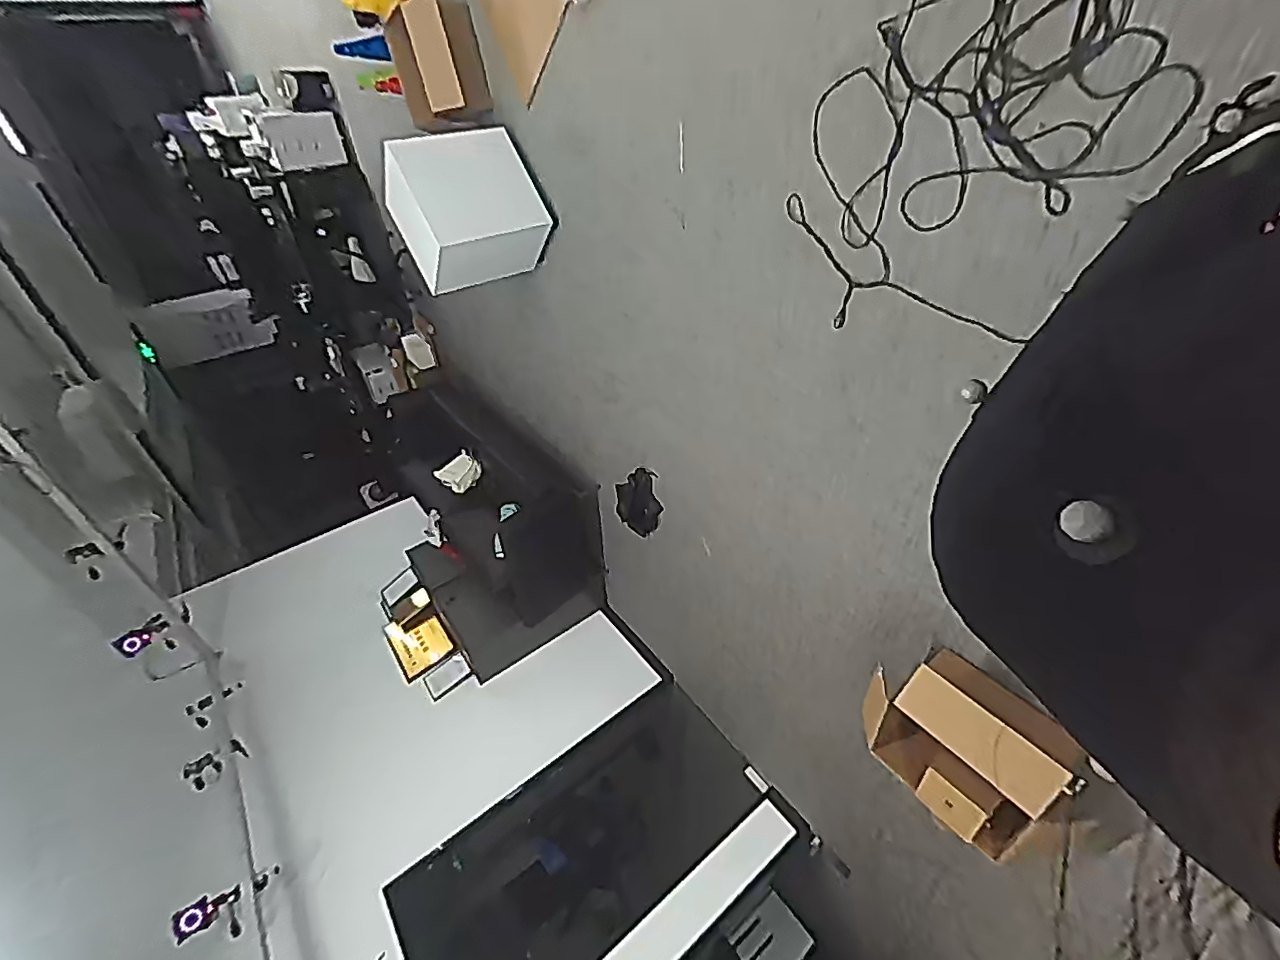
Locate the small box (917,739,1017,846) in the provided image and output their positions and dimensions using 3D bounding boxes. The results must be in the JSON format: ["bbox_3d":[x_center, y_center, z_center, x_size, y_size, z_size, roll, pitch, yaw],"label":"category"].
[{"bbox_3d":[0.936,0.888,1.546,0.168,0.176,0.179,37,141,43],"label":"small box"}]
